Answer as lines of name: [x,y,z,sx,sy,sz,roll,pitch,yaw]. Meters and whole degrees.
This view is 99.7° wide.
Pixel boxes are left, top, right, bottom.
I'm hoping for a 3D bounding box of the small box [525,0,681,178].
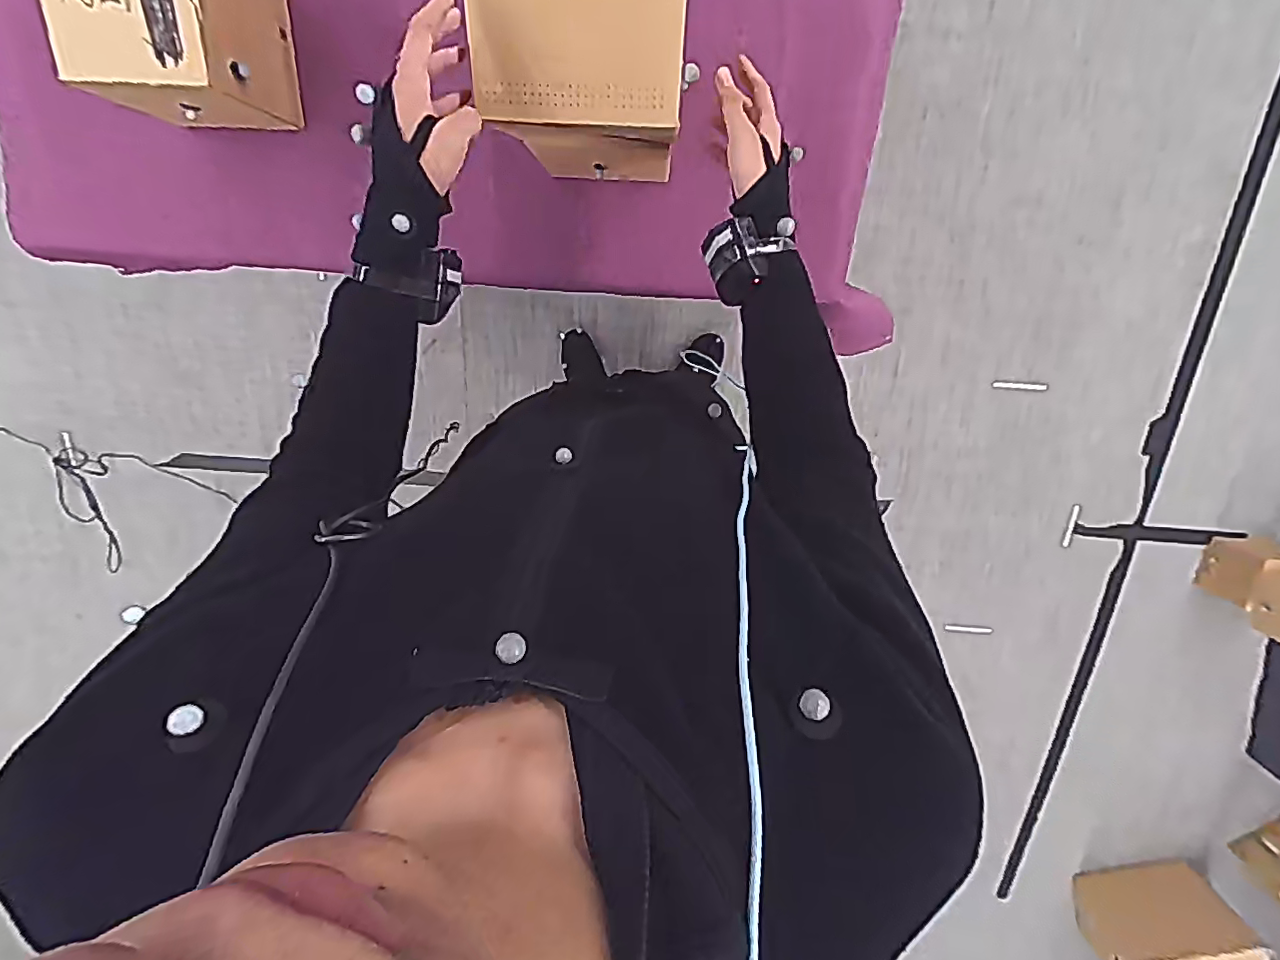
small box: [-0.039,-0.482,0.656,0.168,0.176,0.179,4,108,0]
